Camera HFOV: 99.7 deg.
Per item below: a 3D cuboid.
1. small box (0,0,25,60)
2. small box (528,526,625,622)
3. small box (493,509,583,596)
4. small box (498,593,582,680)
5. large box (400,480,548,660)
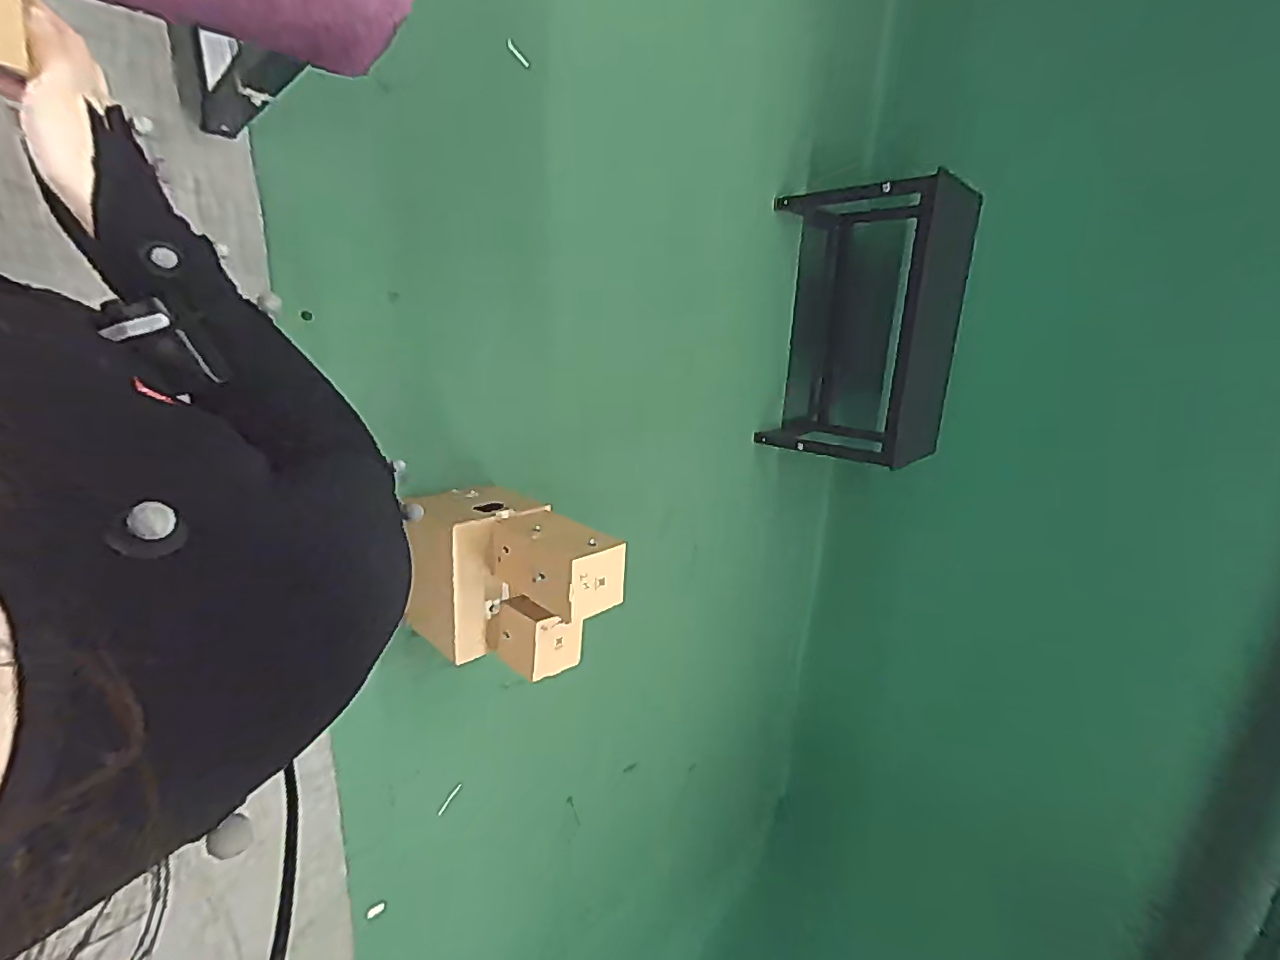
[{"bbox_3d":[-0.407,-0.328,0.241,0.168,0.176,0.179,-4,118,-45],"label":"small box"},{"bbox_3d":[-0.159,0.225,1.352,0.179,0.176,0.168,-12,111,-45],"label":"small box"},{"bbox_3d":[-0.276,0.186,1.461,0.179,0.176,0.168,-11,111,-45],"label":"small box"},{"bbox_3d":[-0.285,0.426,1.524,0.168,0.176,0.179,-4,105,-47],"label":"small box"},{"bbox_3d":[-0.492,0.244,1.611,0.320,0.320,0.408,-11,111,-45],"label":"large box"}]
